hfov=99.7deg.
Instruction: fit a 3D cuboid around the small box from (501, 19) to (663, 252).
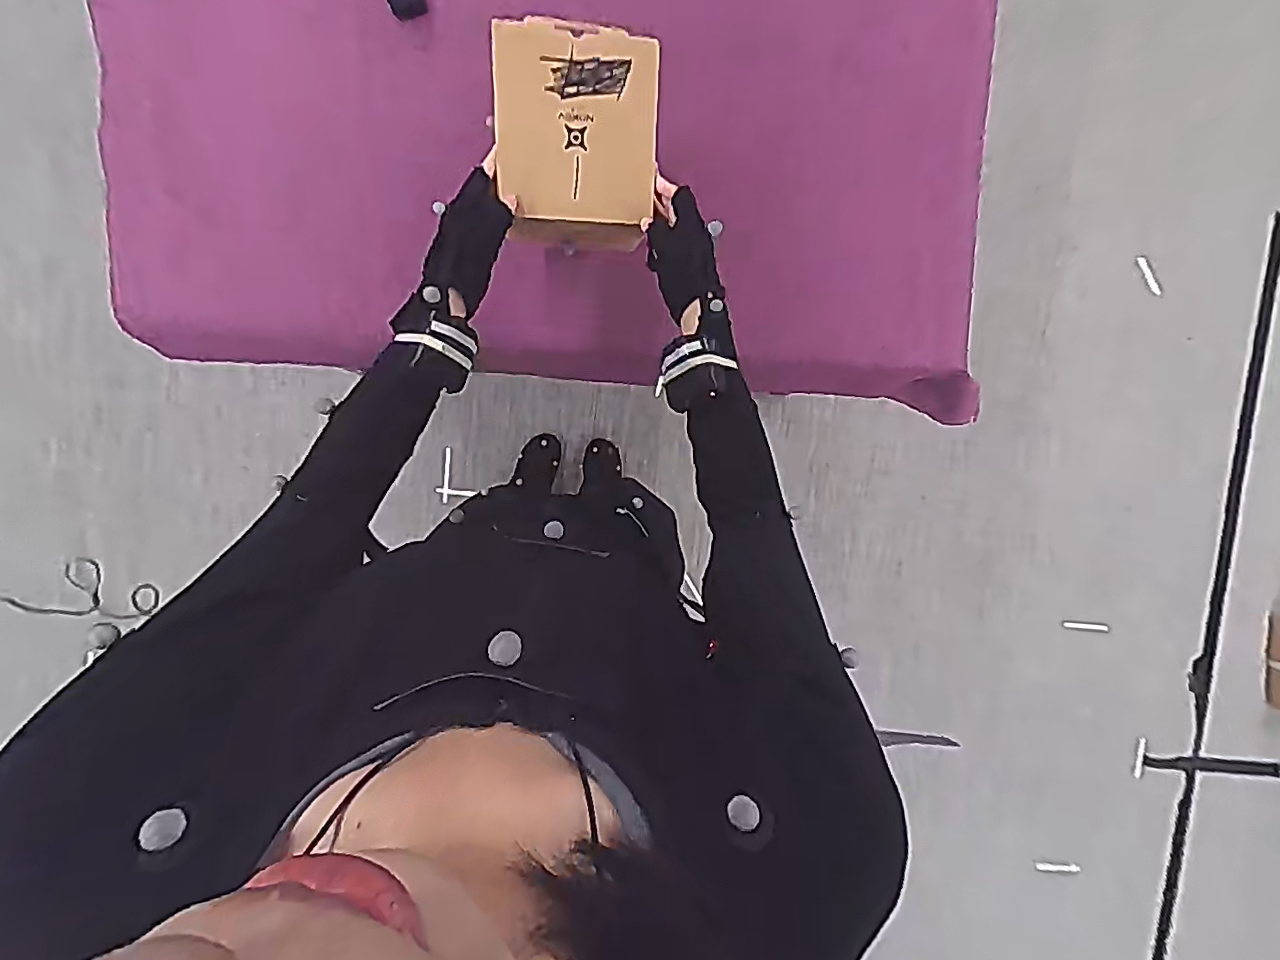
[{"bbox_3d":[-0.073,-0.381,0.632,0.168,0.176,0.179,0,103,-9],"label":"small box"}]
